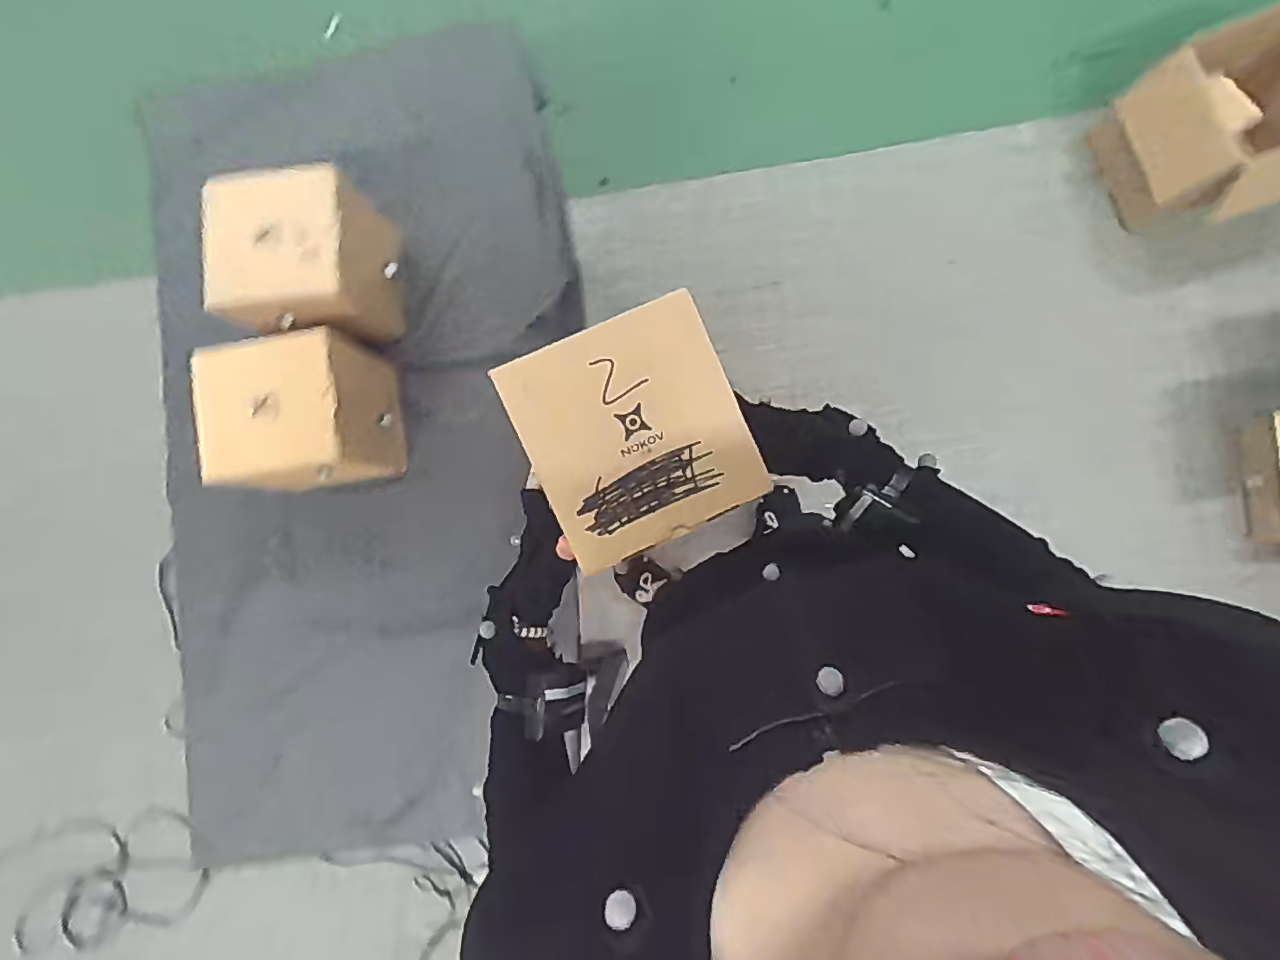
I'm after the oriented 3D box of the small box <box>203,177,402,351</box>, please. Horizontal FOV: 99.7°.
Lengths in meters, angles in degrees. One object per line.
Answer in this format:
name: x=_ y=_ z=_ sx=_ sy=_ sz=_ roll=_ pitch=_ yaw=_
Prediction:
small box: x=-0.461 y=-0.288 z=0.757 sx=0.179 sy=0.176 sz=0.168 roll=-5 pitch=86 yaw=3
